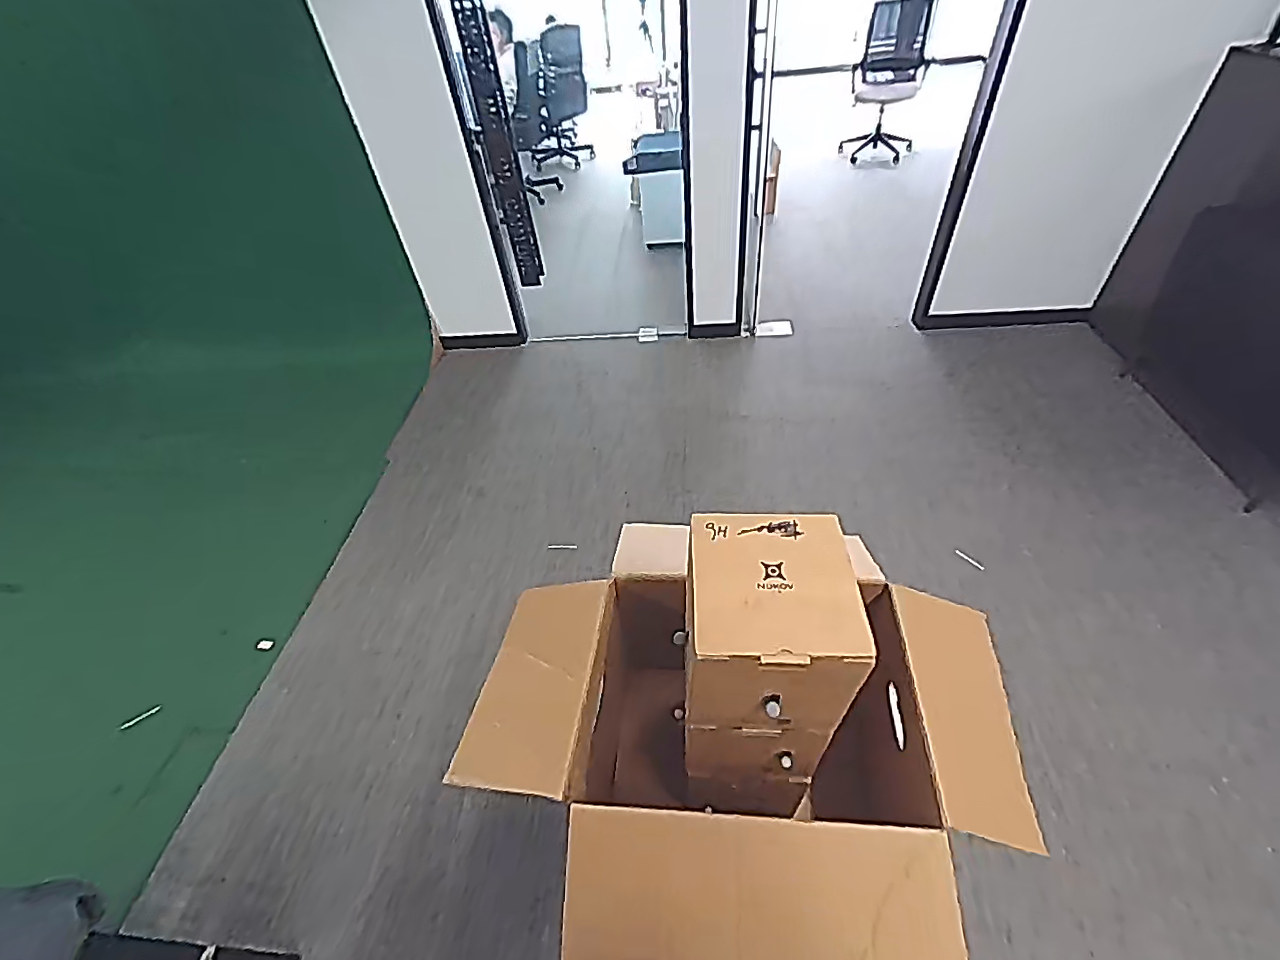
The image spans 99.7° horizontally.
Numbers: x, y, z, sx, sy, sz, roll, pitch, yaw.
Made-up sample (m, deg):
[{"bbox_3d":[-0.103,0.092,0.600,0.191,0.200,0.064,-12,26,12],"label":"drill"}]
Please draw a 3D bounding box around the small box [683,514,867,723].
[{"bbox_3d":[0.135,0.158,0.610,0.168,0.176,0.179,1,46,3],"label":"small box"}]
